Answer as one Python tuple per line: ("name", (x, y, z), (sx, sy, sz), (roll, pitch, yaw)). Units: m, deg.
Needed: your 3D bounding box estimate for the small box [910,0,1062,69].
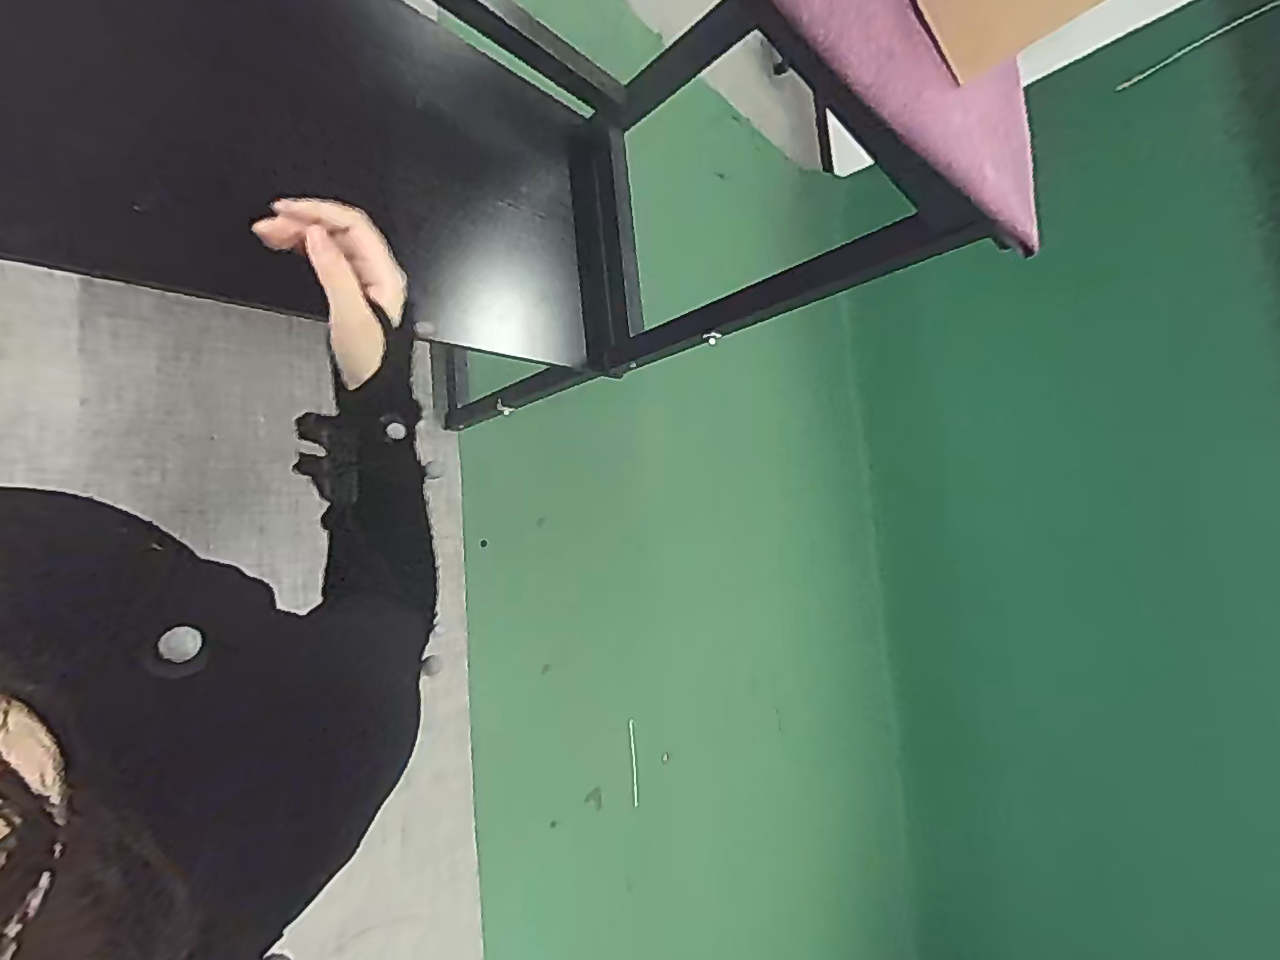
("small box", (0.300, -0.495, 0.439), (0.179, 0.176, 0.168), (3, 79, -46))
